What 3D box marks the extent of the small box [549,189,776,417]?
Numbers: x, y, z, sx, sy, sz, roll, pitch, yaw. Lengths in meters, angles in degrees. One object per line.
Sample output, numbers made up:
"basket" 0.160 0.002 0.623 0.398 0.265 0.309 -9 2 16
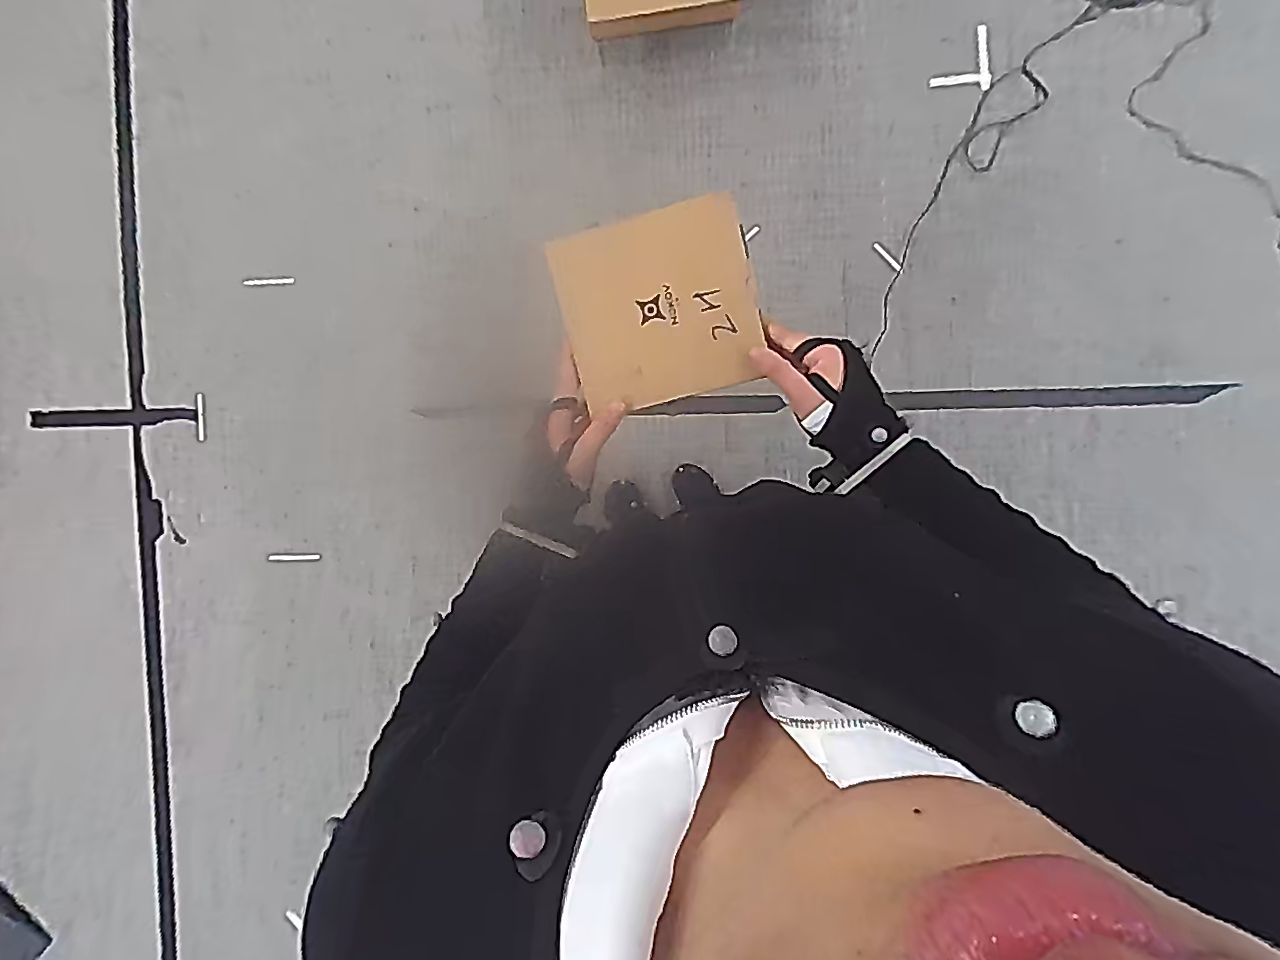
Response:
"small box" 0.025 -0.165 0.556 0.179 0.176 0.168 -13 99 4
